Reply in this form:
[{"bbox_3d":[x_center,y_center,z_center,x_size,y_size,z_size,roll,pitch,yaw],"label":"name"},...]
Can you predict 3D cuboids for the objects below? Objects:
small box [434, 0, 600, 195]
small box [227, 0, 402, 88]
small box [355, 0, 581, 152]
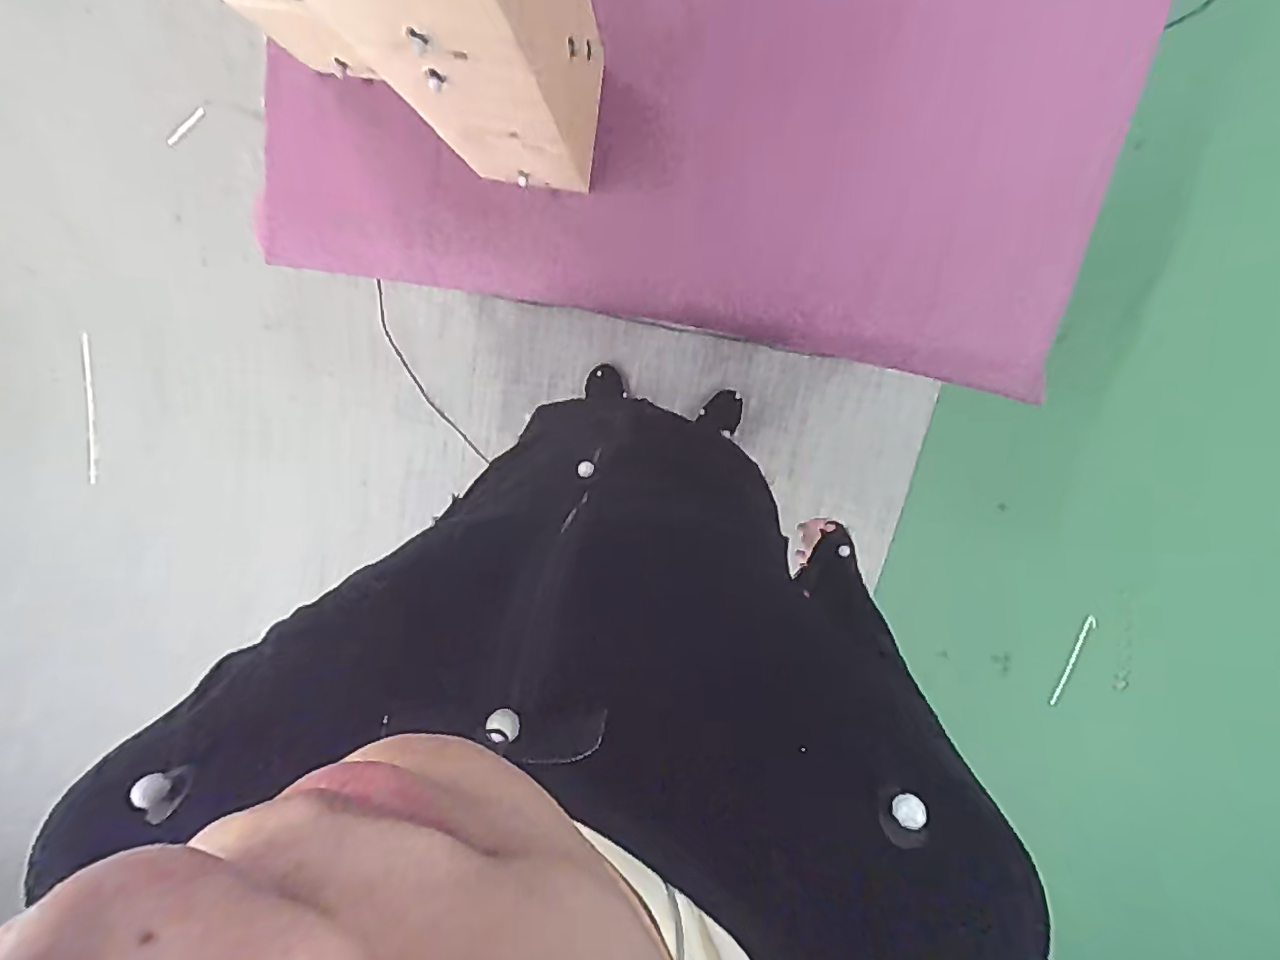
[{"bbox_3d":[-0.150,-0.502,0.707,0.168,0.176,0.179,10,103,1],"label":"small box"},{"bbox_3d":[-0.390,-0.646,0.689,0.168,0.176,0.179,8,104,2],"label":"small box"},{"bbox_3d":[-0.158,-0.469,0.547,0.168,0.176,0.179,9,102,1],"label":"small box"}]
